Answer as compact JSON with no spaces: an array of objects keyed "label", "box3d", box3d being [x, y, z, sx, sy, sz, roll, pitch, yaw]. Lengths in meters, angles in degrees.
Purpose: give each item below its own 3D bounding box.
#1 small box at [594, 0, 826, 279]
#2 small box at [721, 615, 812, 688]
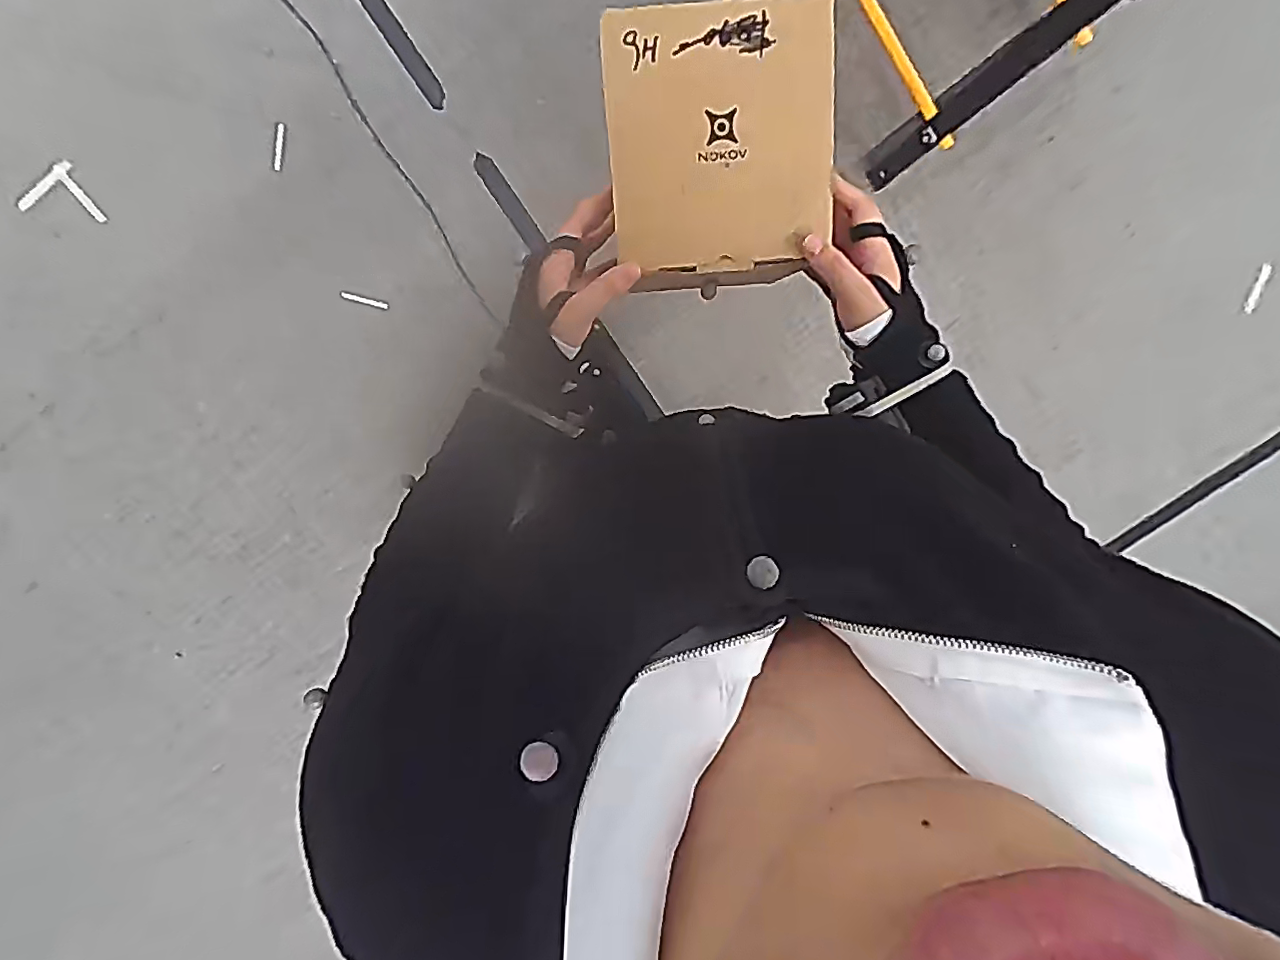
[{"label":"small box","box3d":[0.054,-0.276,0.478,0.168,0.176,0.179,-5,106,0]},{"label":"small box","box3d":[0.343,0.513,1.515,0.179,0.176,0.168,-36,99,5]}]
